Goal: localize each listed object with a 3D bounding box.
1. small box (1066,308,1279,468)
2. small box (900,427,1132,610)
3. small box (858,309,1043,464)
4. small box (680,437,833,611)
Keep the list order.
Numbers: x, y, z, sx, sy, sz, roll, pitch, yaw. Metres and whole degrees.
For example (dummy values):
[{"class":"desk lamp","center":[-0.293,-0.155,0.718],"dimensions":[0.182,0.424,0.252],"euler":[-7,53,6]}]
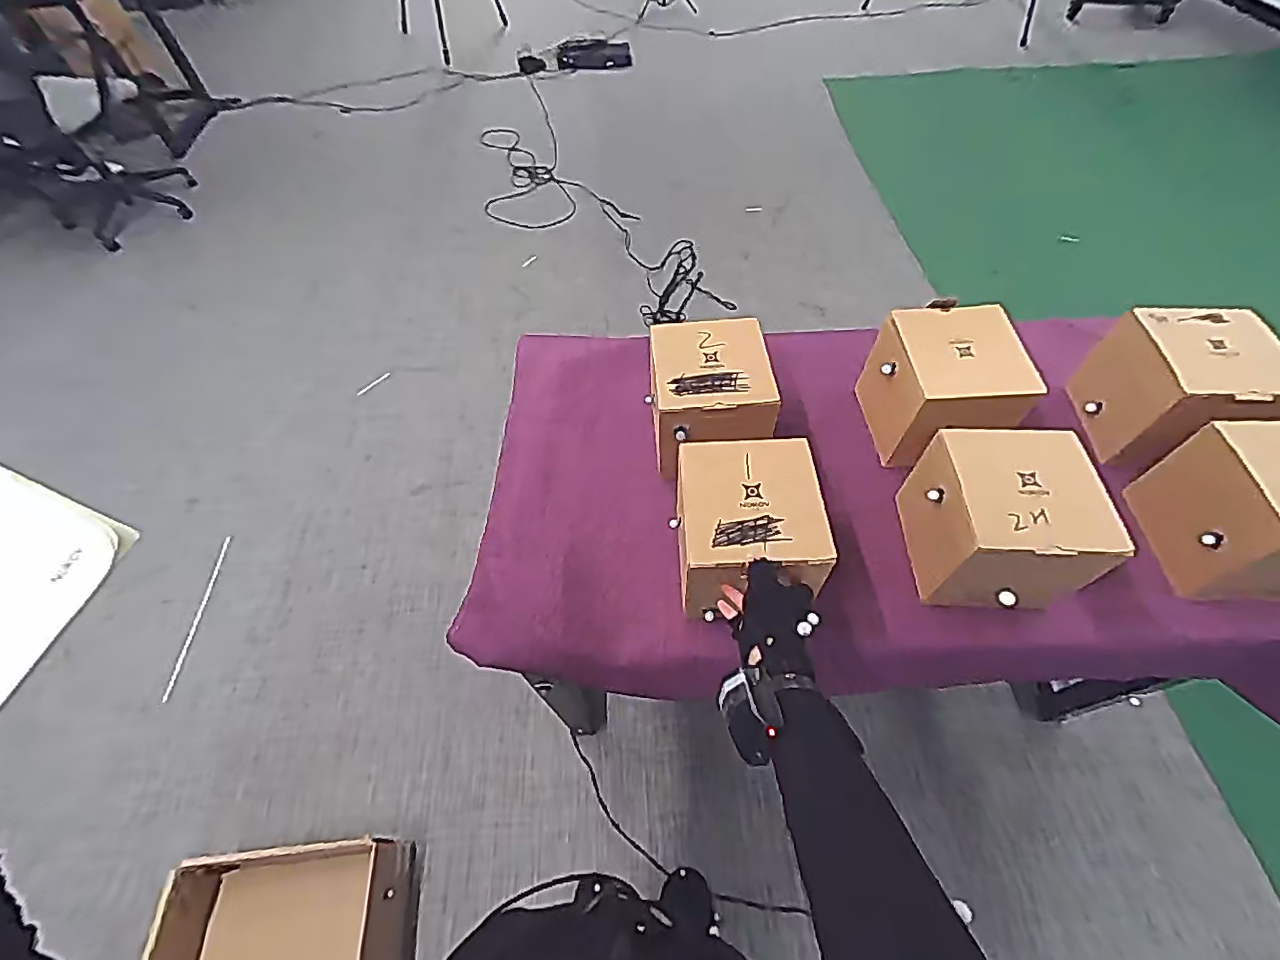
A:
[{"class":"small box","center":[0.798,-0.133,0.812],"dimensions":[0.168,0.176,0.179],"euler":[3,57,4]},{"class":"small box","center":[0.461,0.052,0.703],"dimensions":[0.168,0.176,0.179],"euler":[1,56,4]},{"class":"small box","center":[0.458,-0.136,0.833],"dimensions":[0.168,0.176,0.179],"euler":[-3,56,1]},{"class":"small box","center":[0.138,0.065,0.709],"dimensions":[0.168,0.176,0.179],"euler":[-1,56,2]}]
